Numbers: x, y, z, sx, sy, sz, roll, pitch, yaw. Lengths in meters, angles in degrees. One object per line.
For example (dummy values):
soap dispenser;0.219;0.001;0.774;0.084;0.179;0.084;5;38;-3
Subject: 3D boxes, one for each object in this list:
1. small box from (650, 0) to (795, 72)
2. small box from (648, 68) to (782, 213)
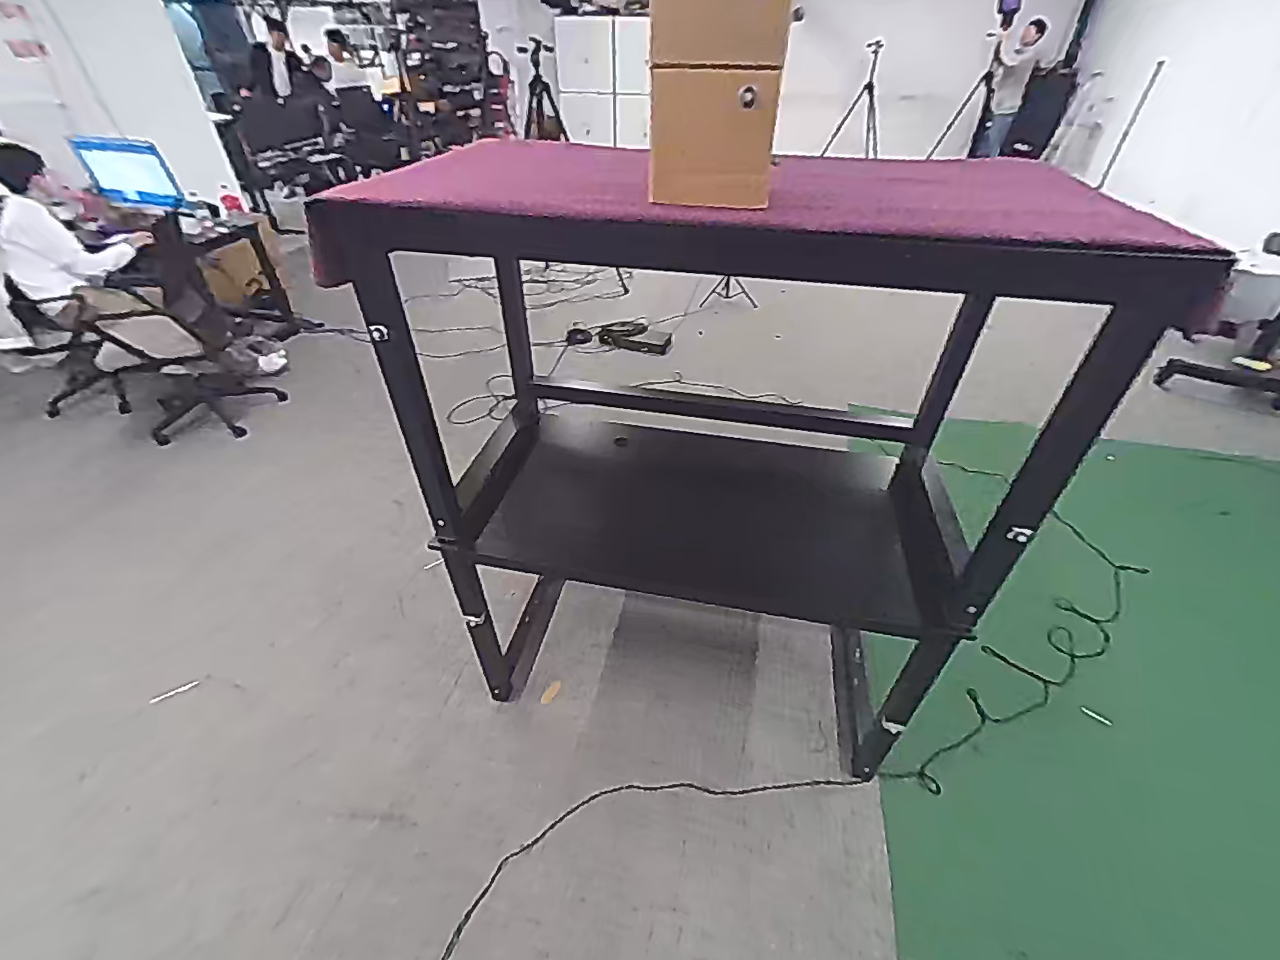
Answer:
small box;0.113;-0.636;0.704;0.179;0.176;0.168;9;39;10
small box;0.110;-0.506;0.805;0.179;0.176;0.168;8;39;9
